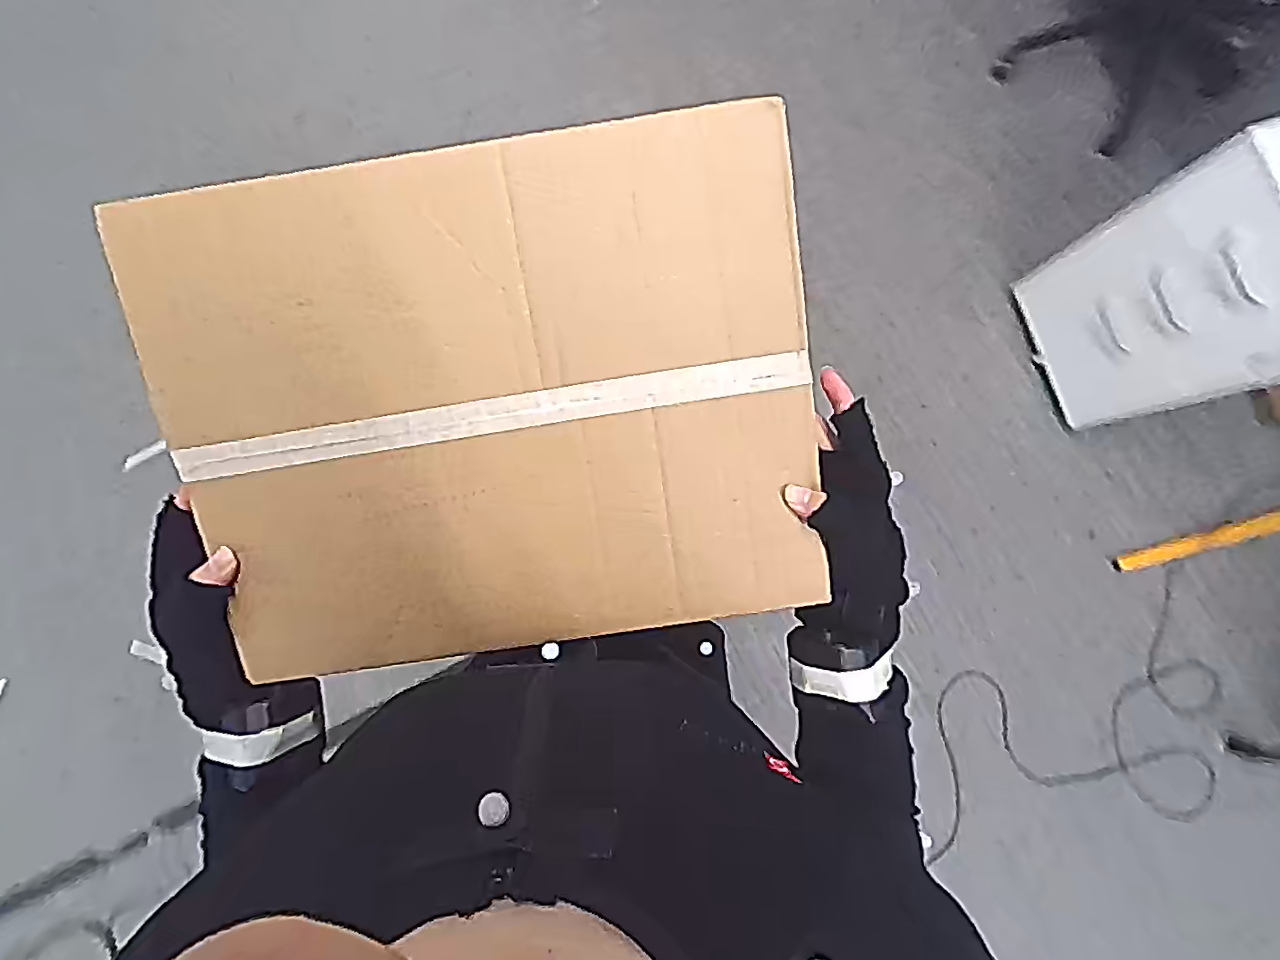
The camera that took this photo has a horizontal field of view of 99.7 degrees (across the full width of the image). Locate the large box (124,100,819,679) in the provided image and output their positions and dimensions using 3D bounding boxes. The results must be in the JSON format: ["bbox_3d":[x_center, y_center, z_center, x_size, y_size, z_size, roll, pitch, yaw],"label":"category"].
[{"bbox_3d":[-0.100,-0.068,0.498,0.408,0.320,0.320,-10,101,1],"label":"large box"}]
